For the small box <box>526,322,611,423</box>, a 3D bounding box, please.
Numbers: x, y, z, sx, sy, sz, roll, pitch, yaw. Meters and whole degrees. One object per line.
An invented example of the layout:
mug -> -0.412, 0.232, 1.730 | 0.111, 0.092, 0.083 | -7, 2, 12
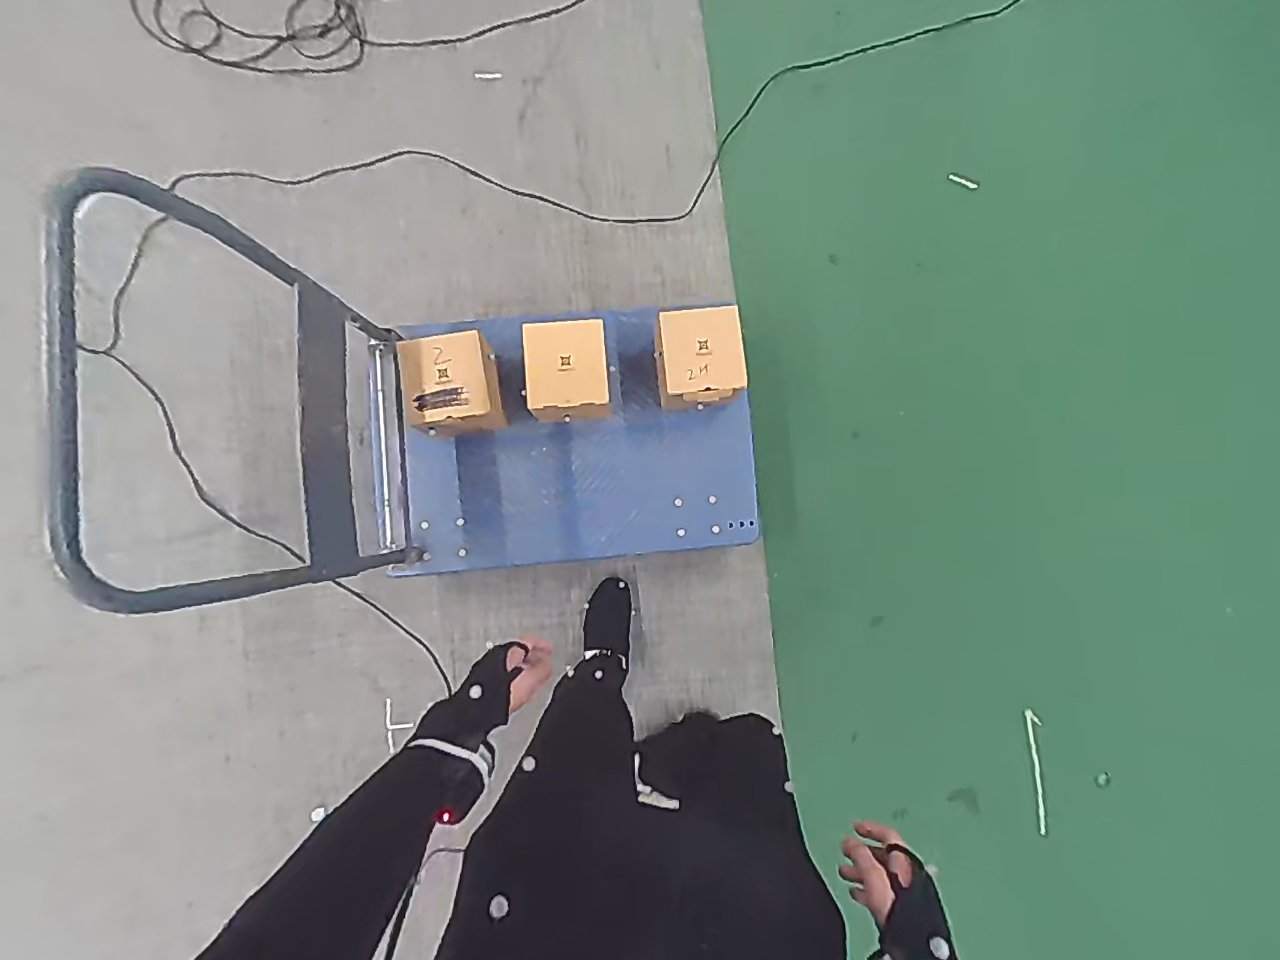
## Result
small box -> -0.151, -0.227, 1.170 | 0.168, 0.176, 0.179 | -4, 87, -3

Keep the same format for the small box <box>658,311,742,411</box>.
small box -> 0.124, -0.253, 1.177 | 0.168, 0.176, 0.179 | 1, 87, 1
